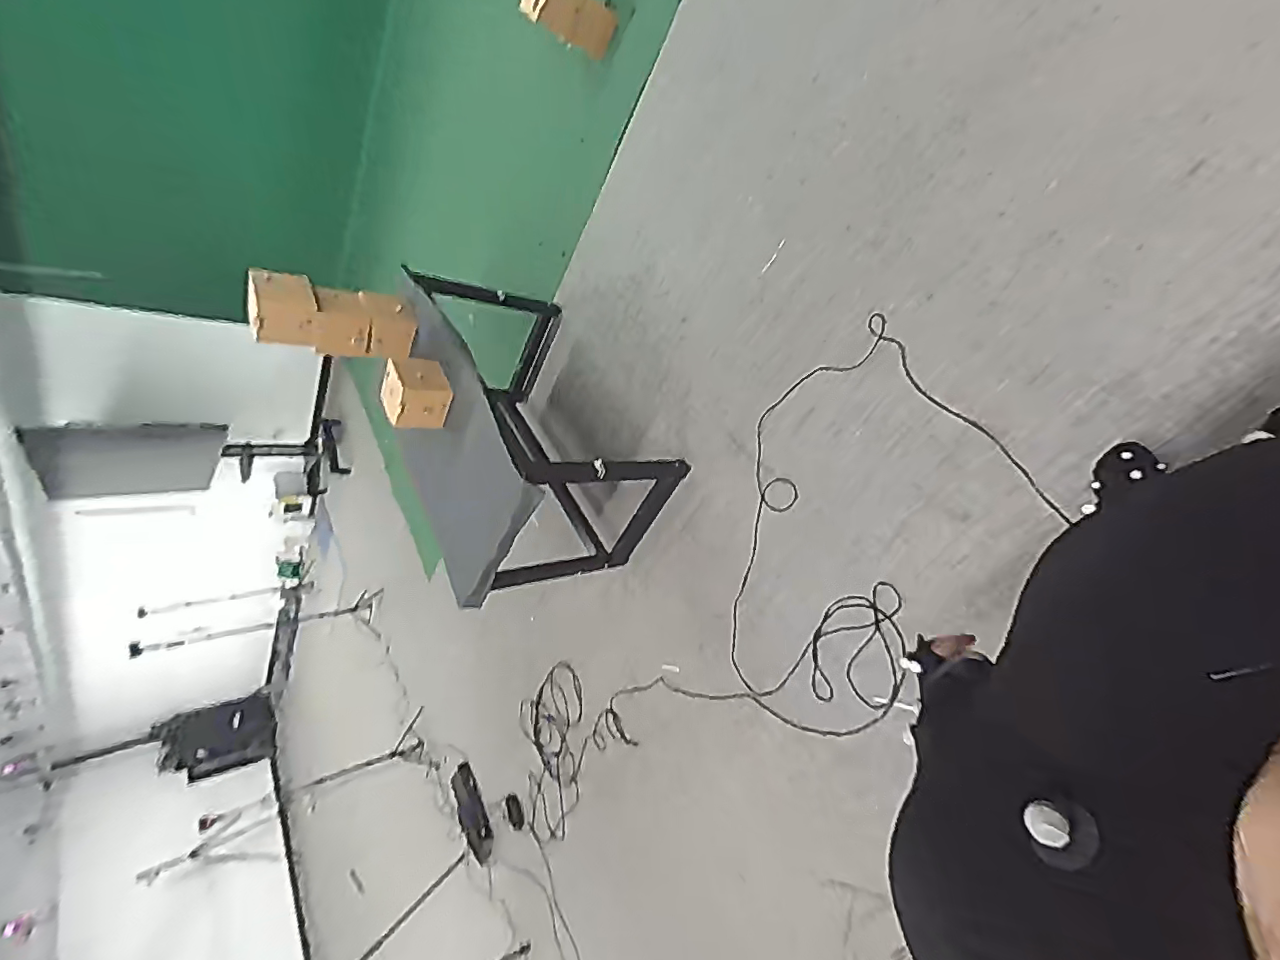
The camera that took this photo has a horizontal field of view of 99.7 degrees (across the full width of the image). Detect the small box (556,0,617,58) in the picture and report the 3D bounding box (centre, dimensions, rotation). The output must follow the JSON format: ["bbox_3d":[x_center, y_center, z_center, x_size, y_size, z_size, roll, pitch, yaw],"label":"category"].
[{"bbox_3d":[-0.218,-1.921,2.254,0.179,0.176,0.168,-53,56,34],"label":"small box"}]

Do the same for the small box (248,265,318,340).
[{"bbox_3d":[-1.196,-0.586,1.809,0.179,0.176,0.168,56,132,28],"label":"small box"}]

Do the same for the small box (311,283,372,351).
[{"bbox_3d":[-1.076,-0.573,1.924,0.179,0.176,0.168,51,130,30],"label":"small box"}]

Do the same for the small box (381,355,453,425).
[{"bbox_3d":[-0.755,-0.306,1.839,0.179,0.176,0.168,55,129,28],"label":"small box"}]

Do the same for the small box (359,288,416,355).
[{"bbox_3d":[-0.961,-0.591,2.038,0.179,0.176,0.168,-52,57,36],"label":"small box"}]
